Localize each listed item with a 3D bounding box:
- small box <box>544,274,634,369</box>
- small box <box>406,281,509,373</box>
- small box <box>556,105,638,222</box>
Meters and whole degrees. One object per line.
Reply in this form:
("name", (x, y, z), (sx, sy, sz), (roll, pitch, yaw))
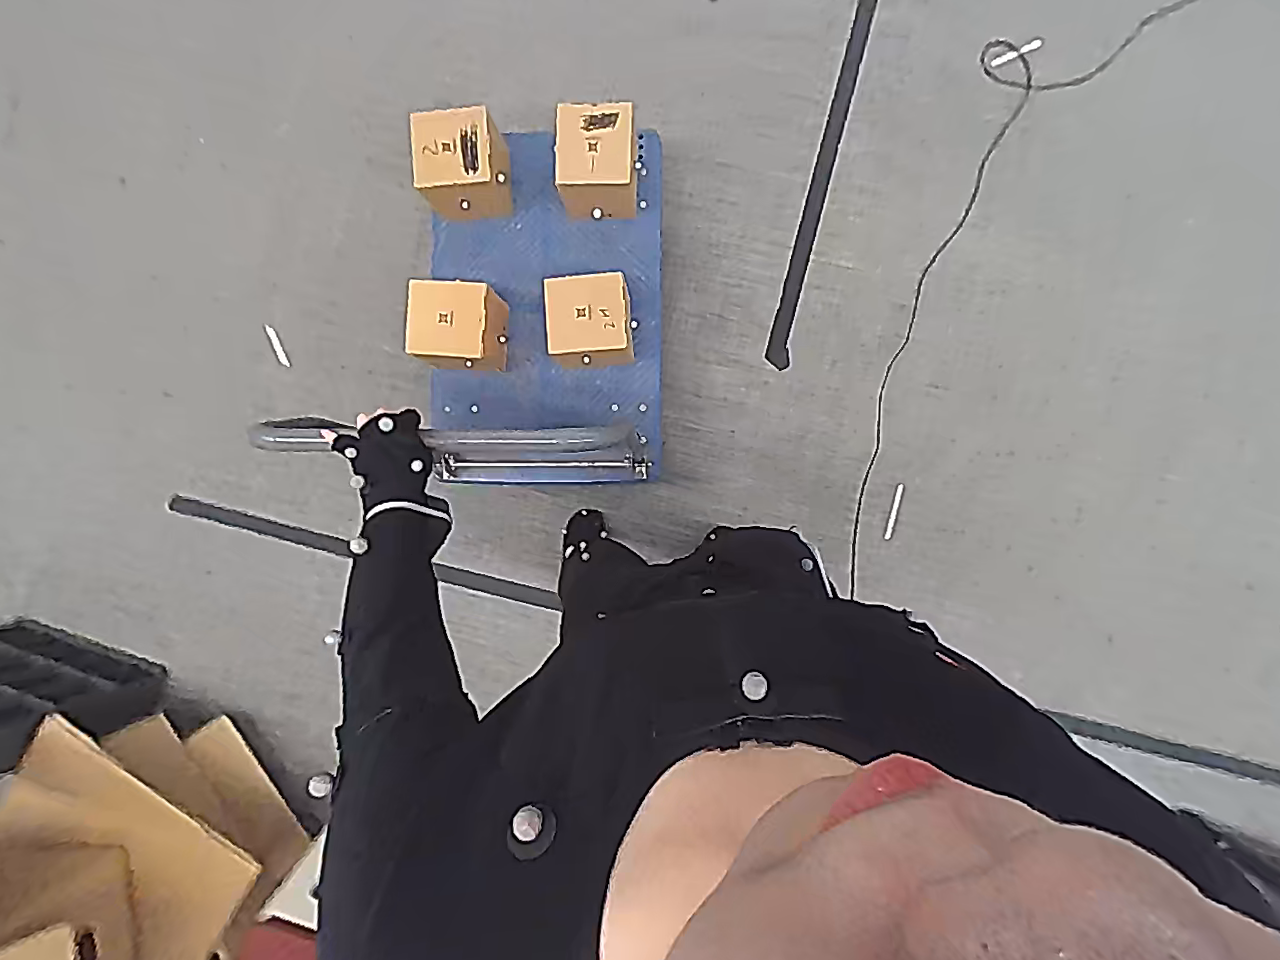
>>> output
("small box", (-0.112, -0.357, 1.245), (0.179, 0.176, 0.168), (-3, 90, 4))
("small box", (-0.421, -0.351, 1.267), (0.179, 0.176, 0.168), (3, 90, 2))
("small box", (-0.094, -0.721, 1.243), (0.168, 0.176, 0.179), (2, 92, 4))
